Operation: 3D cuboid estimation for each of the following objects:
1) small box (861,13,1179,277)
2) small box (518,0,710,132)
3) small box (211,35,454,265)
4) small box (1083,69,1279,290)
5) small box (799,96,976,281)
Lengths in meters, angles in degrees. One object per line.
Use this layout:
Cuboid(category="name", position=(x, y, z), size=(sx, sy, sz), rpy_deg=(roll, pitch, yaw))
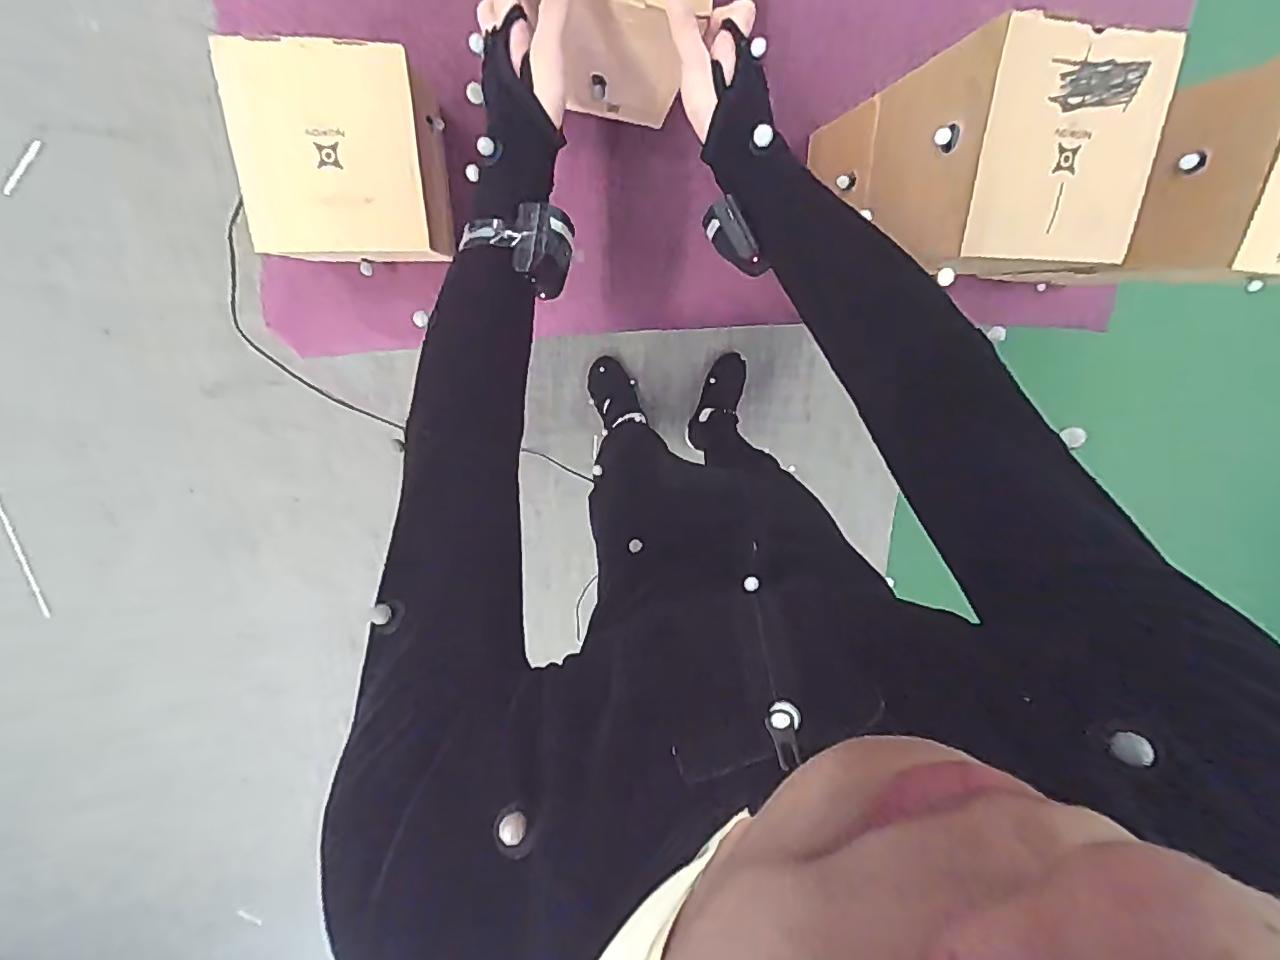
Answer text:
Cuboid(category="small box", position=(0.340, -0.298, 0.524), size=(0.168, 0.176, 0.179), rpy_deg=(0, 109, -9))
Cuboid(category="small box", position=(-0.031, -0.496, 0.538), size=(0.168, 0.176, 0.179), rpy_deg=(4, 92, -14))
Cuboid(category="small box", position=(-0.305, -0.331, 0.581), size=(0.168, 0.176, 0.179), rpy_deg=(-3, 109, -8))
Cuboid(category="small box", position=(0.619, -0.299, 0.564), size=(0.168, 0.176, 0.179), rpy_deg=(1, 108, -8))
Cuboid(category="small box", position=(0.314, -0.346, 0.679), size=(0.168, 0.176, 0.179), rpy_deg=(-1, 108, -9))
